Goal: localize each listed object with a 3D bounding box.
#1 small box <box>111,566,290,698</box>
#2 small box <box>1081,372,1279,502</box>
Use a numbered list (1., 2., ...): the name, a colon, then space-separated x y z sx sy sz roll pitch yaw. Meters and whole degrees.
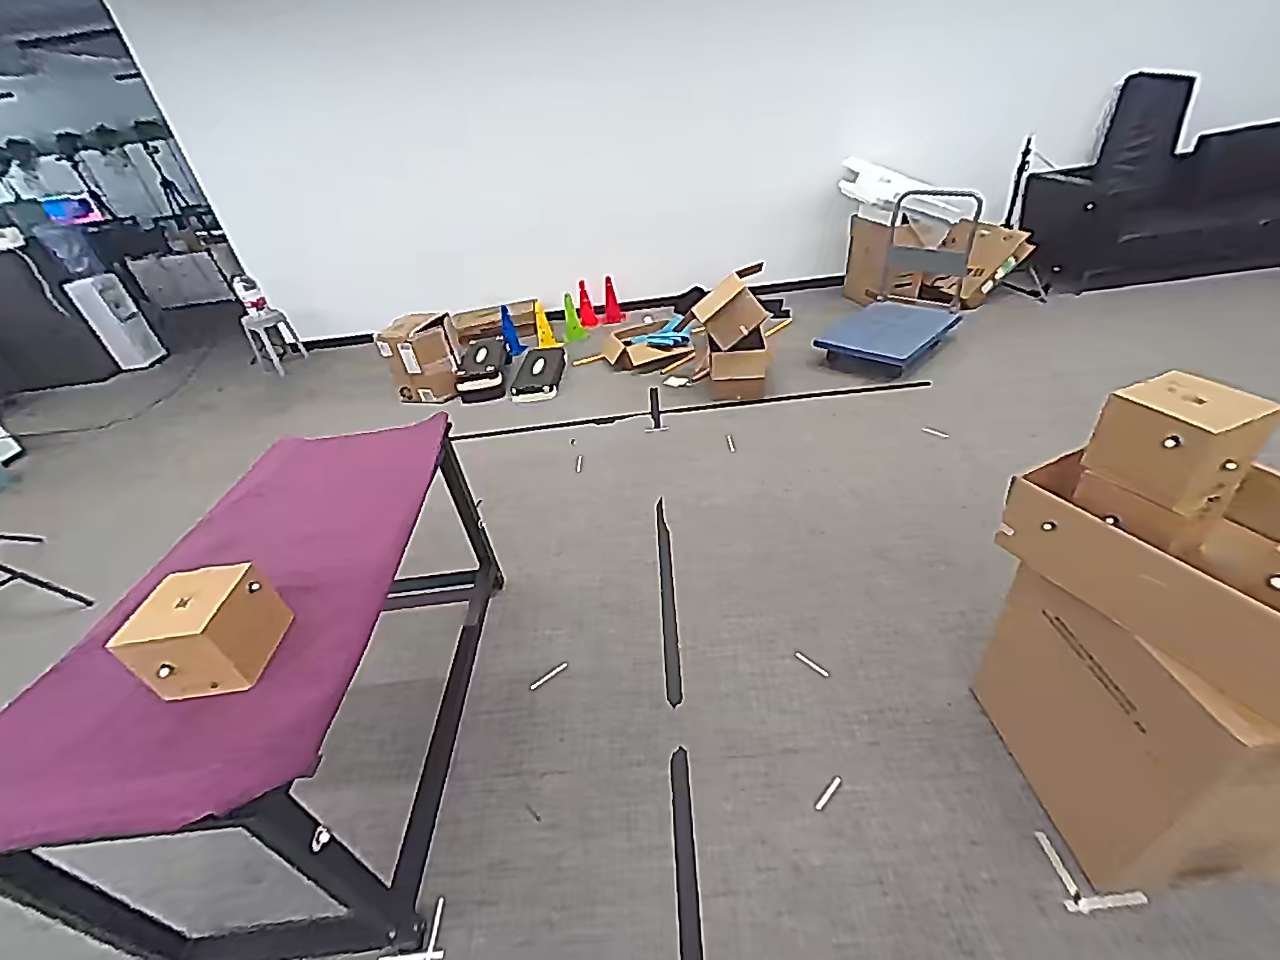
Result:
1. small box: -0.810 0.292 1.024 0.168 0.176 0.179 -9 34 0
2. small box: 0.992 -0.076 1.013 0.168 0.176 0.179 -17 35 -11
